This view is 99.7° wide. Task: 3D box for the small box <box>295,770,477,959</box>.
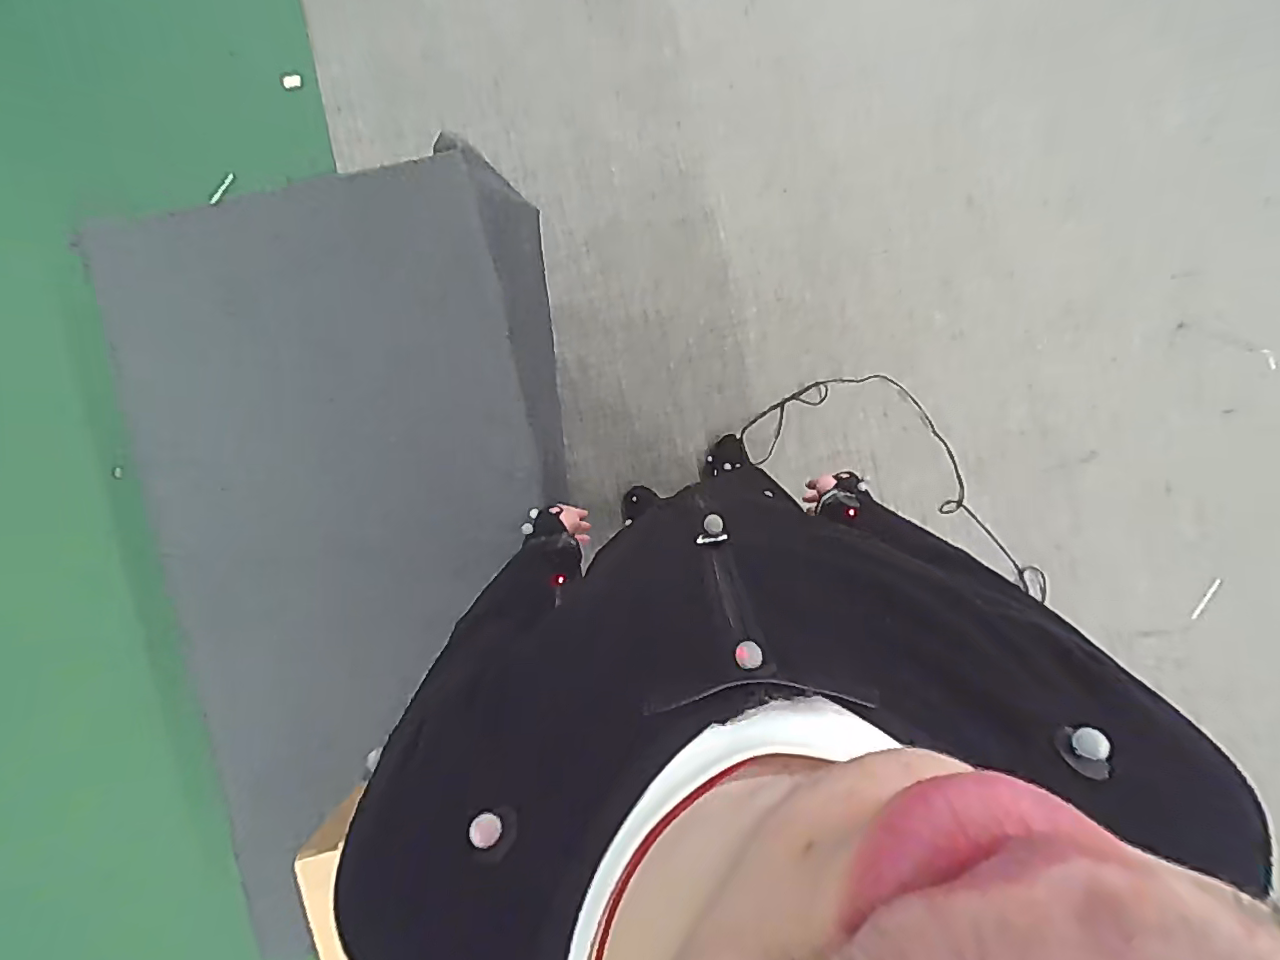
[{"bbox_3d":[-0.354,0.551,0.785,0.168,0.176,0.179,-13,91,0],"label":"small box"}]
